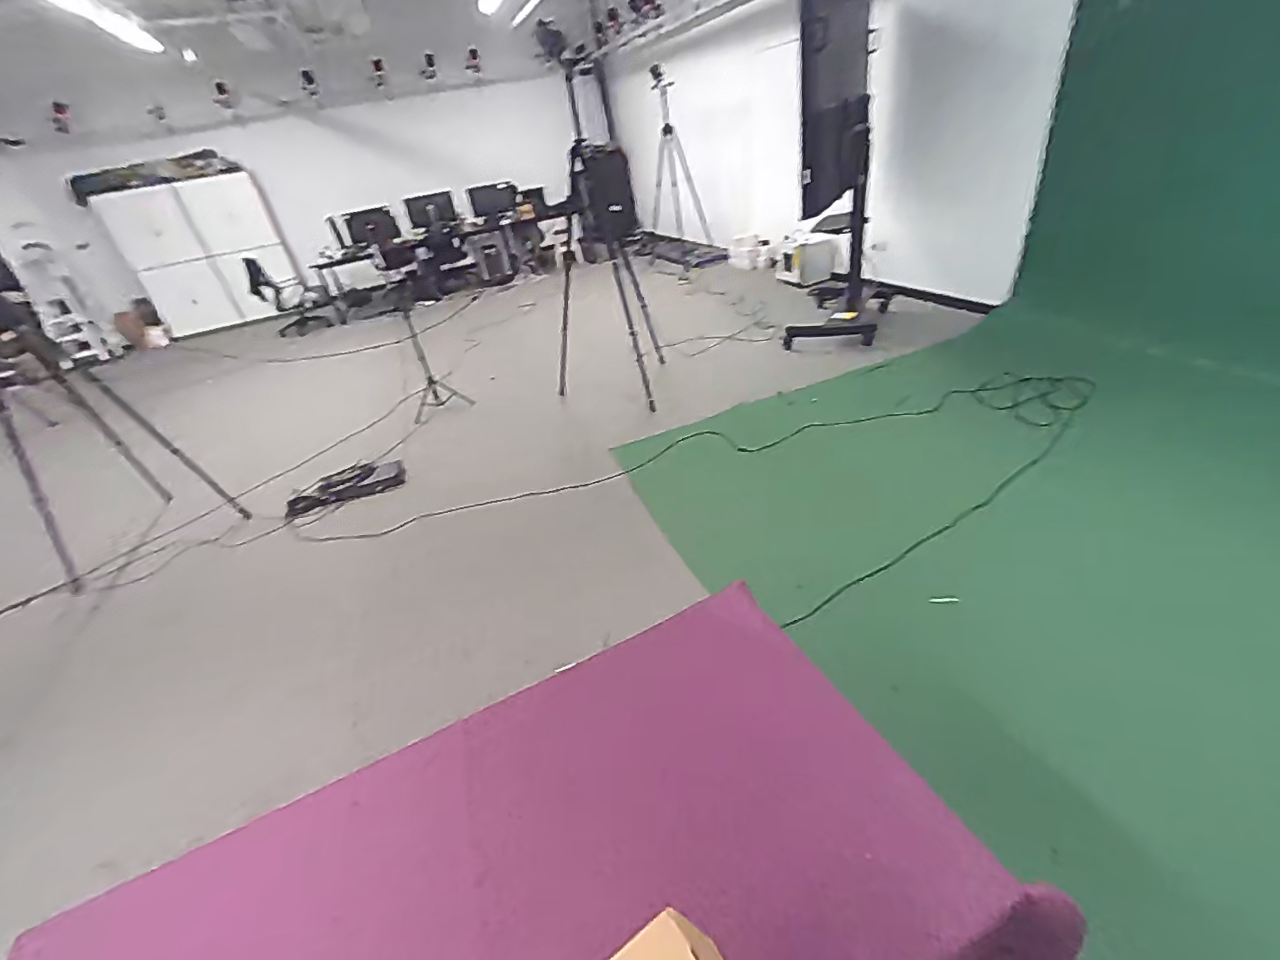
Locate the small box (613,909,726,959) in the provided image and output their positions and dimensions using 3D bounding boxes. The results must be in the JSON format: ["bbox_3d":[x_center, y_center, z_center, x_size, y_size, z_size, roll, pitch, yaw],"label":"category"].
[{"bbox_3d":[0.019,0.472,0.393,0.179,0.176,0.168,-33,42,-14],"label":"small box"}]
